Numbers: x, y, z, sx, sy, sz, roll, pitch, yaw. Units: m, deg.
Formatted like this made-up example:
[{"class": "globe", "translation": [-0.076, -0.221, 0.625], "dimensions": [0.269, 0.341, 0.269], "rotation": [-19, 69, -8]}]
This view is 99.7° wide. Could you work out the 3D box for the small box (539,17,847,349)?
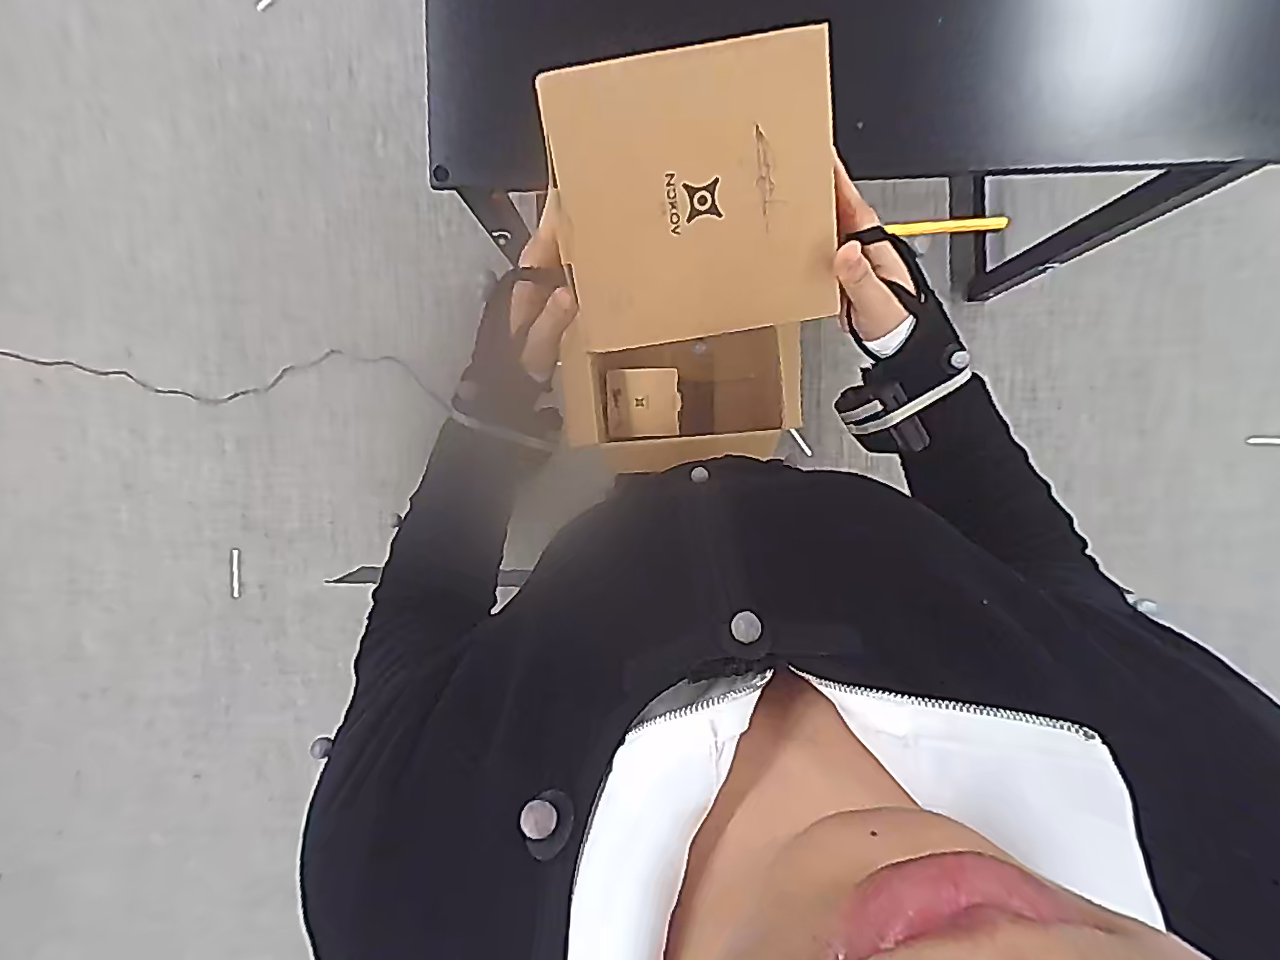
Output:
[{"class": "small box", "translation": [0.037, -0.197, 0.410], "dimensions": [0.179, 0.176, 0.168], "rotation": [-9, 108, 1]}]
